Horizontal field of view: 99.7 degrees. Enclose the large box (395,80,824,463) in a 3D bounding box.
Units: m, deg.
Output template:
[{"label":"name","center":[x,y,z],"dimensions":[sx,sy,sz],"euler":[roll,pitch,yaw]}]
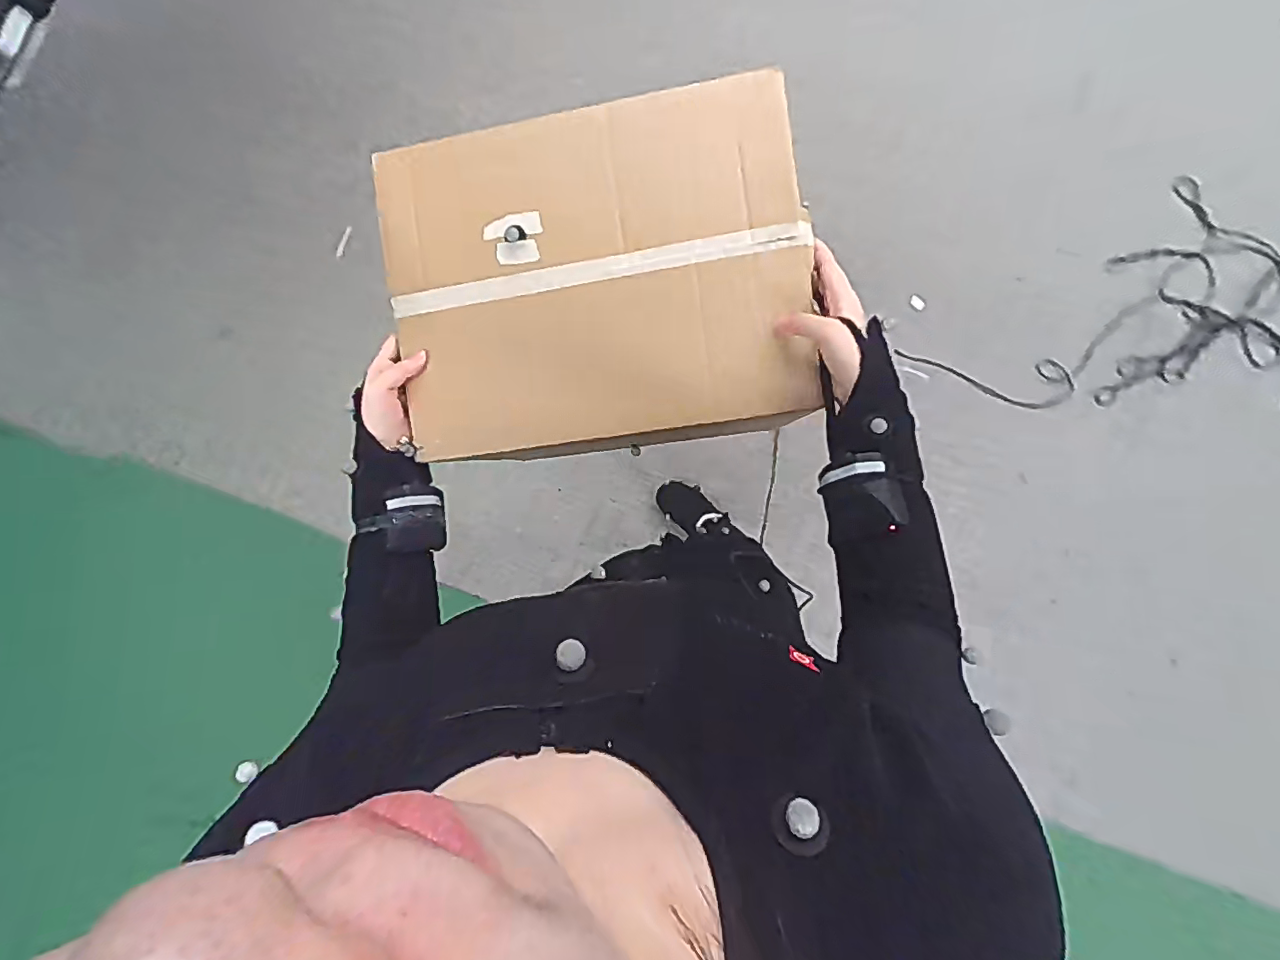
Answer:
[{"label":"large box","center":[-0.017,-0.202,0.679],"dimensions":[0.408,0.320,0.320],"euler":[-7,91,9]}]
